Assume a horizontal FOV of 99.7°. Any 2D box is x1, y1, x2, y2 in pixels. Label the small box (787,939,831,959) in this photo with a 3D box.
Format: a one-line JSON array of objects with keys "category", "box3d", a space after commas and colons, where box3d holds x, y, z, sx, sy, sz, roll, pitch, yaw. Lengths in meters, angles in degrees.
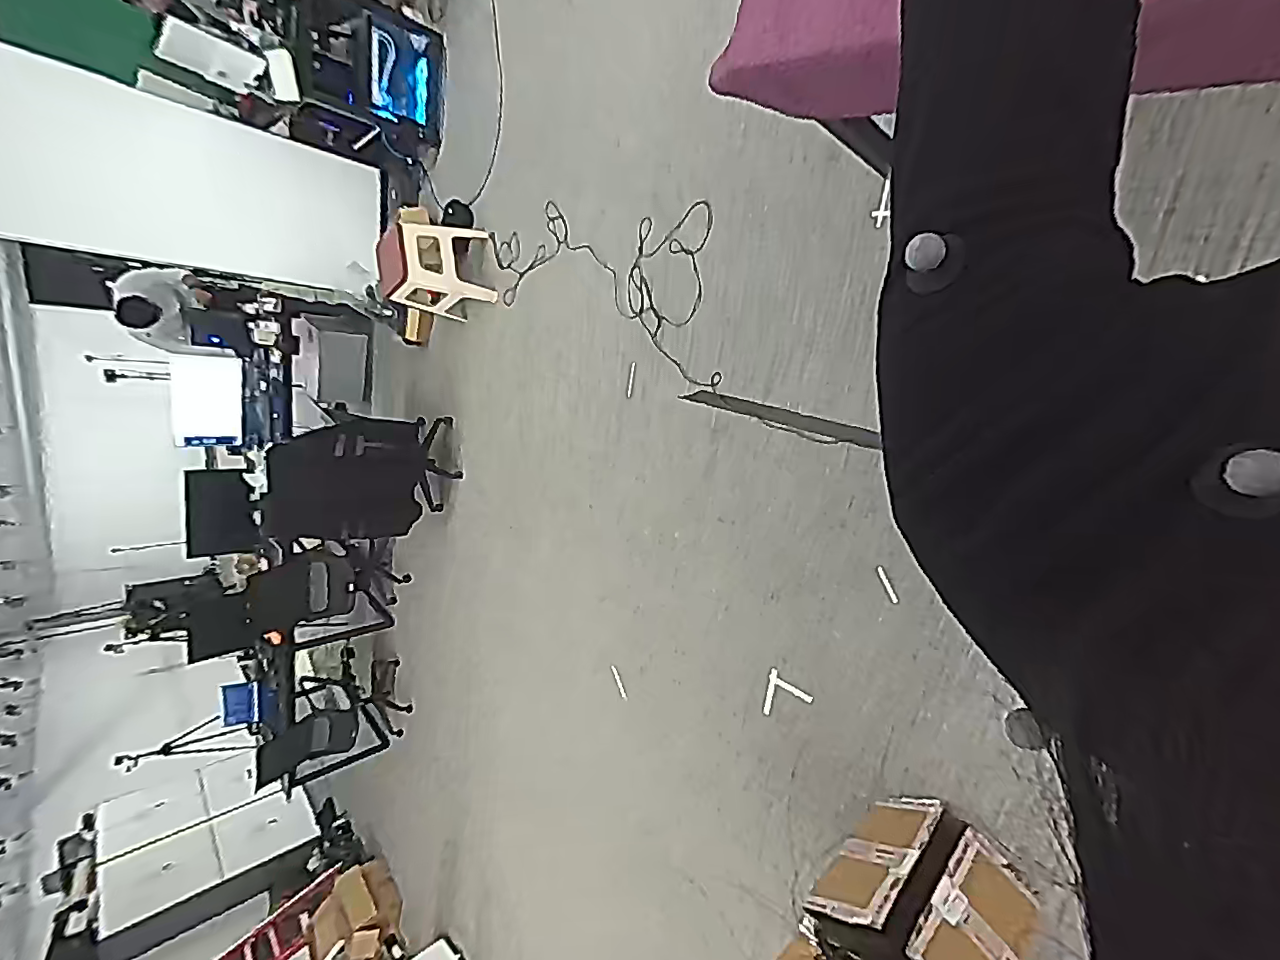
[{"category": "small box", "box3d": [0.371, 1.160, 1.155, 0.168, 0.176, 0.179, 18, 109, 45]}]
